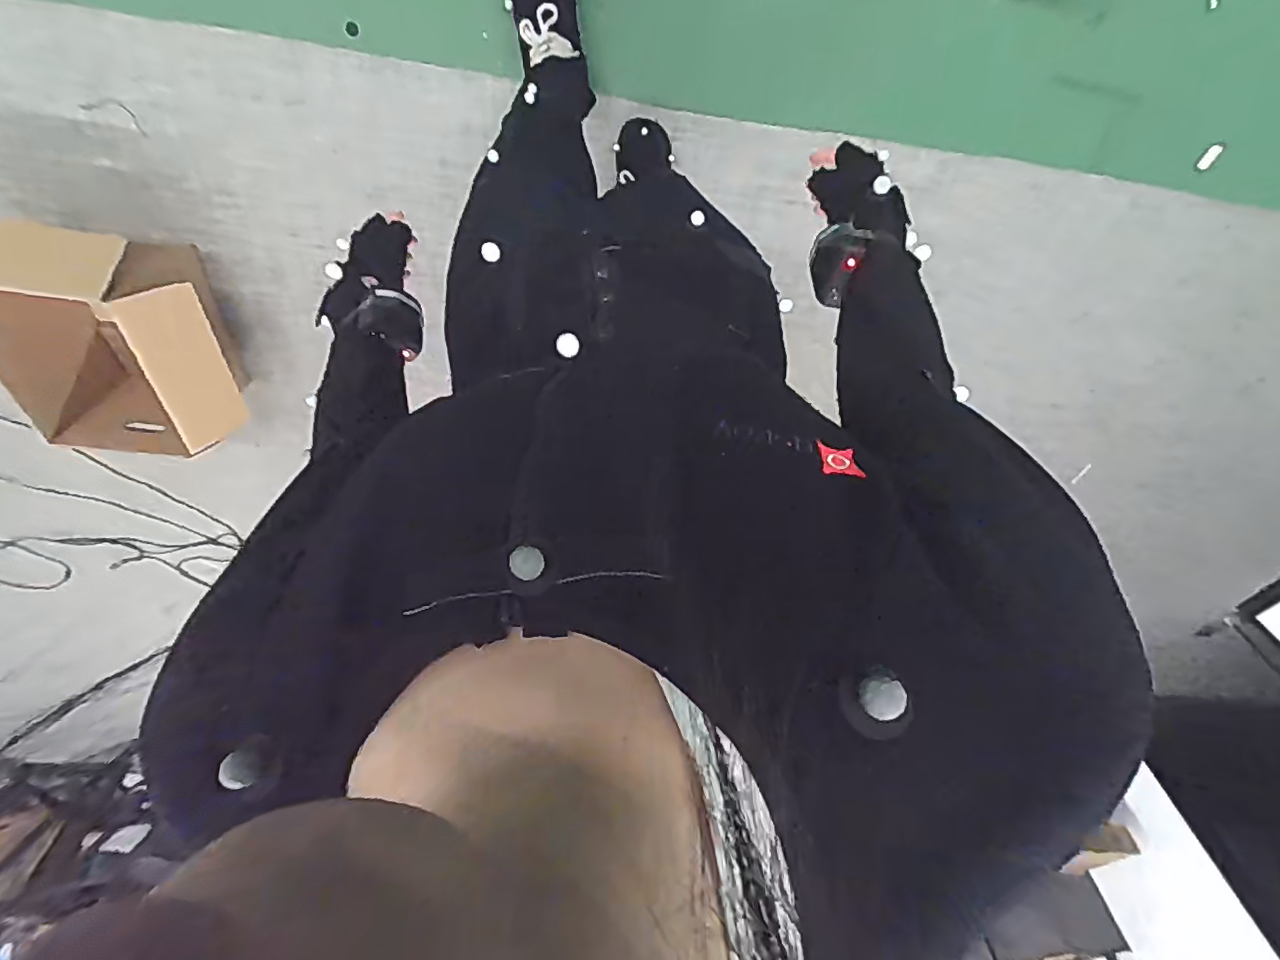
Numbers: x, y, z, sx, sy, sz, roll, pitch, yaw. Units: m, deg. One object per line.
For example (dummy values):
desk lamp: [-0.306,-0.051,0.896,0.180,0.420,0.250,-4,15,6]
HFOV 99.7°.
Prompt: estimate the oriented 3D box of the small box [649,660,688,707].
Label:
small box: [0.140,1.026,2.726,0.168,0.176,0.179,2,133,-7]
